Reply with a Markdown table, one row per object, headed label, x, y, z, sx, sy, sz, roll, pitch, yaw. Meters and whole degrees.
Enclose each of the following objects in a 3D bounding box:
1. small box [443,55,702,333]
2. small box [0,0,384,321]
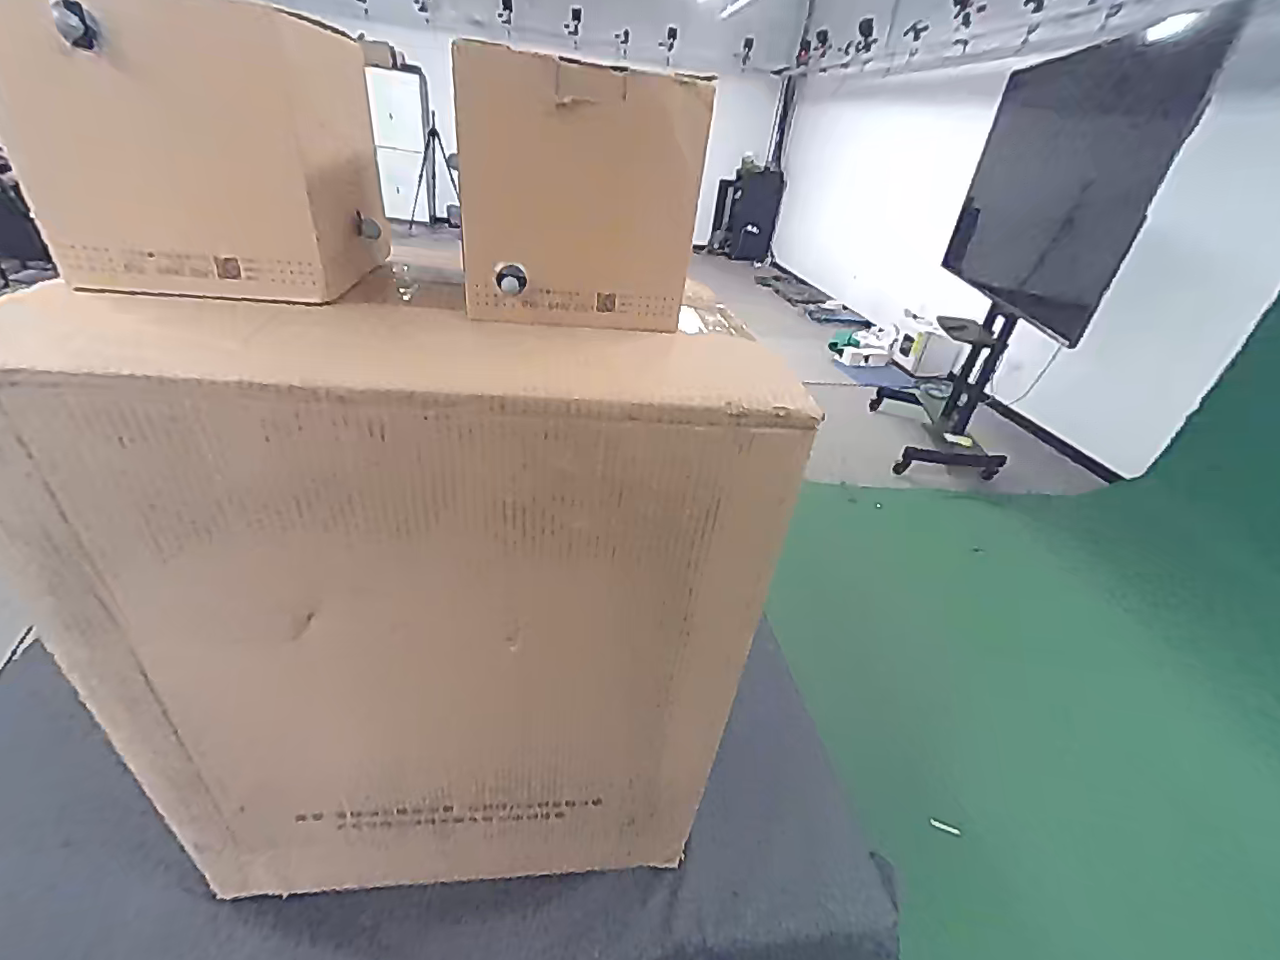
| label | x | y | z | sx | sy | sz | roll | pitch | yaw |
| --- | --- | --- | --- | --- | --- | --- | --- | --- | --- |
| small box | -0.059 | -0.228 | 0.445 | 0.168 | 0.176 | 0.179 | -1 | 33 | -13 |
| small box | -0.307 | -0.230 | 0.406 | 0.168 | 0.176 | 0.179 | 0 | 33 | -9 |
